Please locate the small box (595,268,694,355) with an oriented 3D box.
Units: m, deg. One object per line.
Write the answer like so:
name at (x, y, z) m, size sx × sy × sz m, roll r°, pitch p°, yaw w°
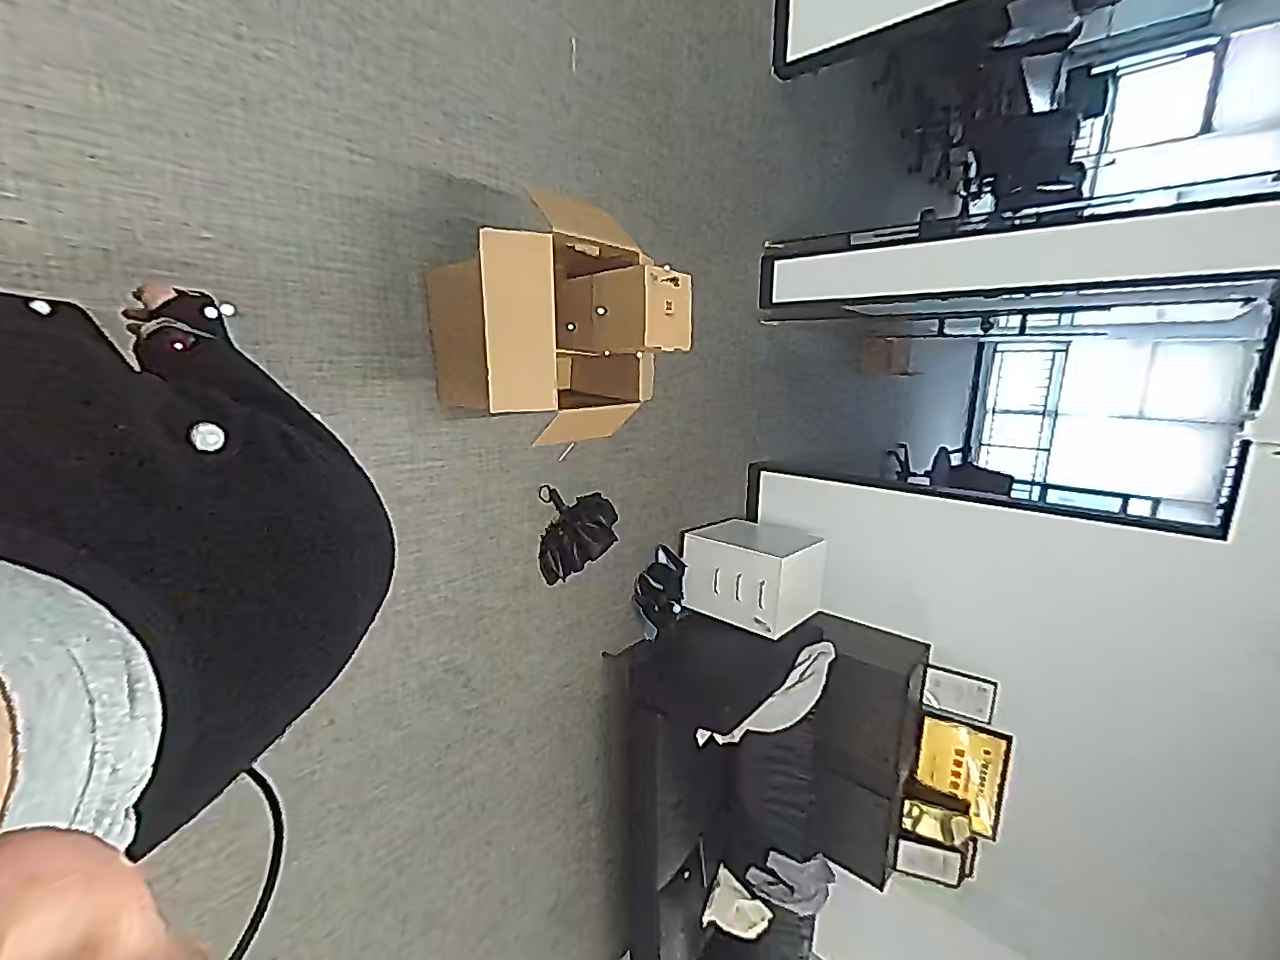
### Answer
small box at (0.008, -0.387, 1.273) m, size 0.168 × 0.176 × 0.179 m, roll -10°, pitch 105°, yaw -47°
